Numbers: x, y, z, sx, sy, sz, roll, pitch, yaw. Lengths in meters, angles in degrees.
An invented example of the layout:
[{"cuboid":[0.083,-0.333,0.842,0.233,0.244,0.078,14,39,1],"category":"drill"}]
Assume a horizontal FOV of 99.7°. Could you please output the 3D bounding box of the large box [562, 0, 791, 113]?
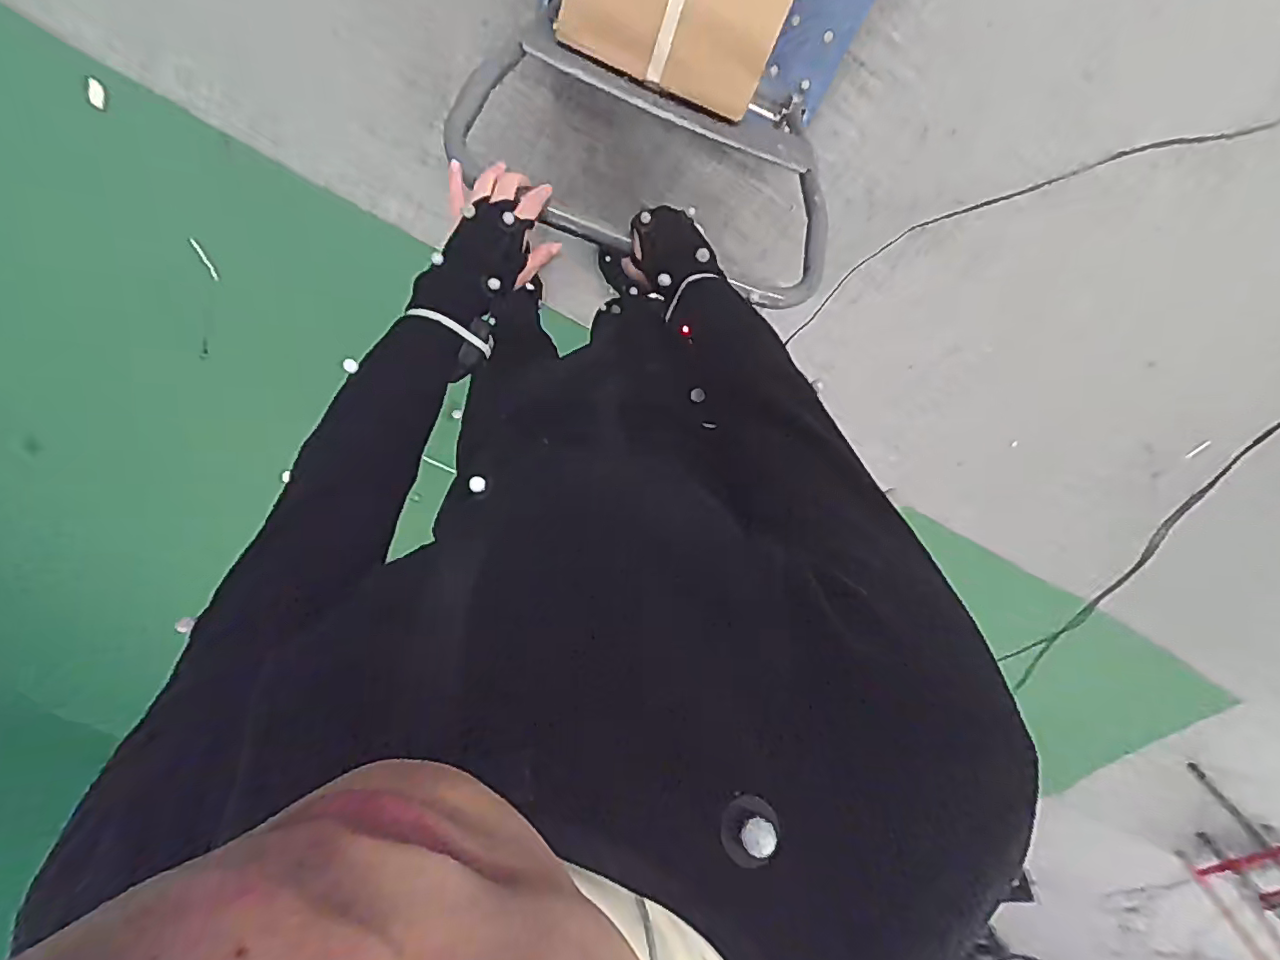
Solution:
[{"cuboid":[0.099,-0.863,0.813,0.320,0.320,0.408,17,135,-10],"category":"large box"}]
